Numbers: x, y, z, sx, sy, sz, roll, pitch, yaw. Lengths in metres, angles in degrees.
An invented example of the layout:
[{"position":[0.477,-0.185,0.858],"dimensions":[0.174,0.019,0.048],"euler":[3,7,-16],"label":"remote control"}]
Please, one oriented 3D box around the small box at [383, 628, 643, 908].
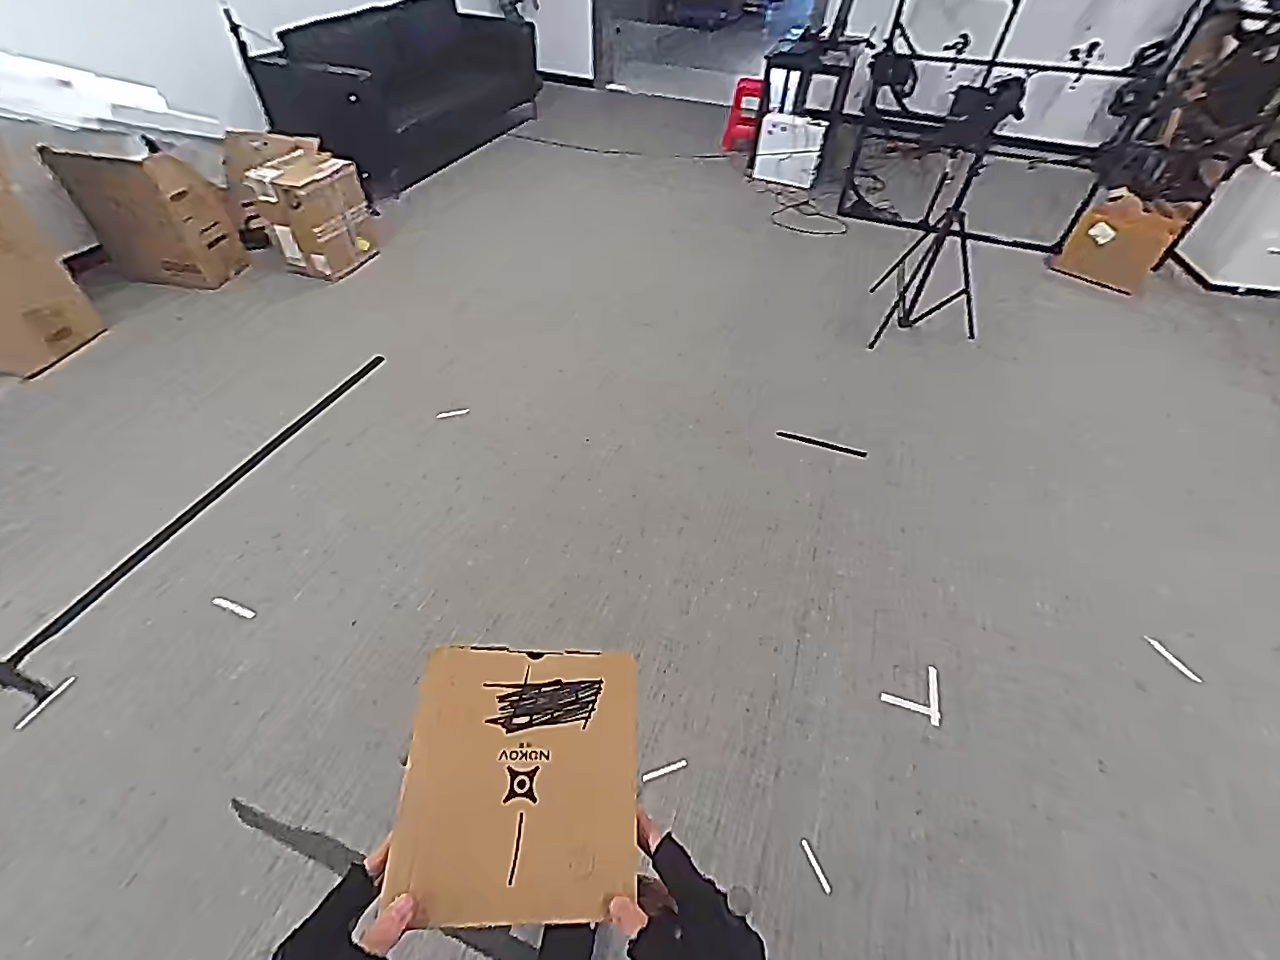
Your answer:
[{"position":[-0.093,0.241,0.453],"dimensions":[0.168,0.176,0.179],"euler":[6,56,-9],"label":"small box"}]
